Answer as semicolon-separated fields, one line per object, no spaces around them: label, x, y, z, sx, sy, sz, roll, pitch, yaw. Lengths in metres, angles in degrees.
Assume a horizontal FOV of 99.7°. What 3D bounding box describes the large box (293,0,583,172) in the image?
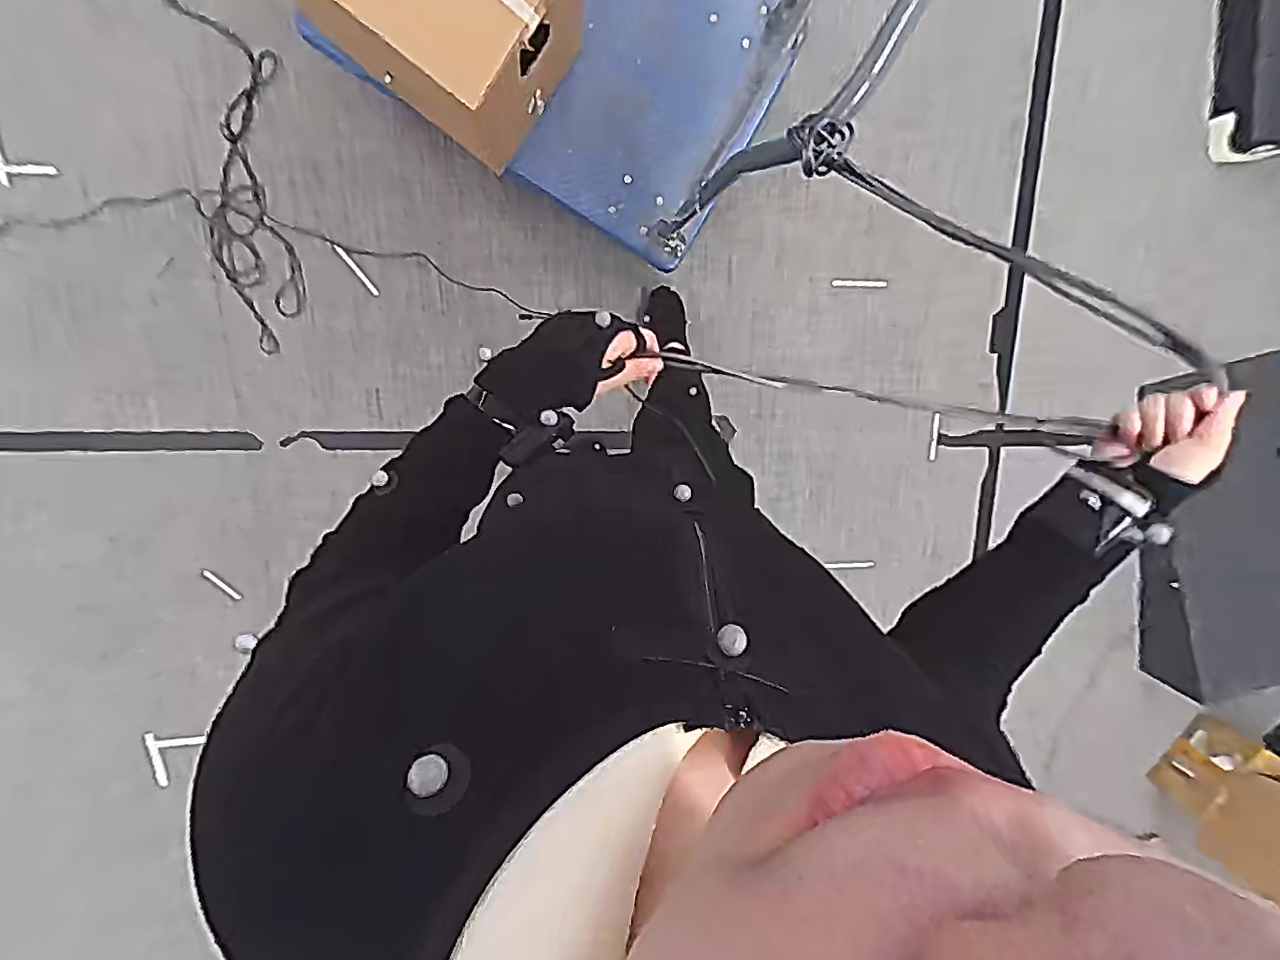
large box;-0.340;-0.821;0.908;0.408;0.320;0.320;34;96;-12
